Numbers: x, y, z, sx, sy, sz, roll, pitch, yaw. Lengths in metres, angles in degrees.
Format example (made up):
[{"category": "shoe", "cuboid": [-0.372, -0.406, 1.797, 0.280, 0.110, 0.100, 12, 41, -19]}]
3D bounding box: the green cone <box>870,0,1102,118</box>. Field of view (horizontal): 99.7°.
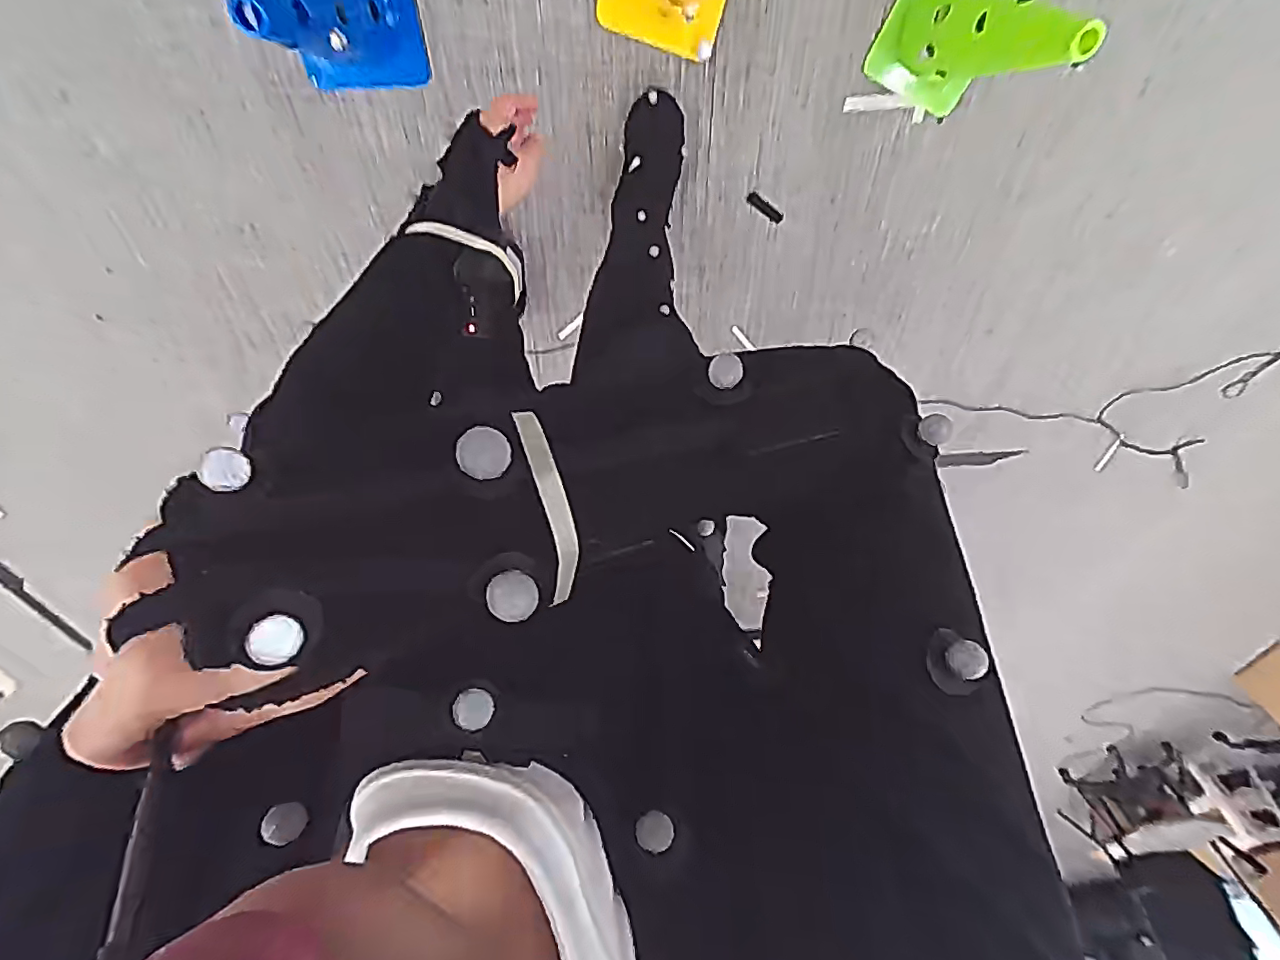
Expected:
[{"category": "green cone", "cuboid": [0.530, -0.643, 0.789, 0.200, 0.368, 0.202, 14, 129, -17]}]
